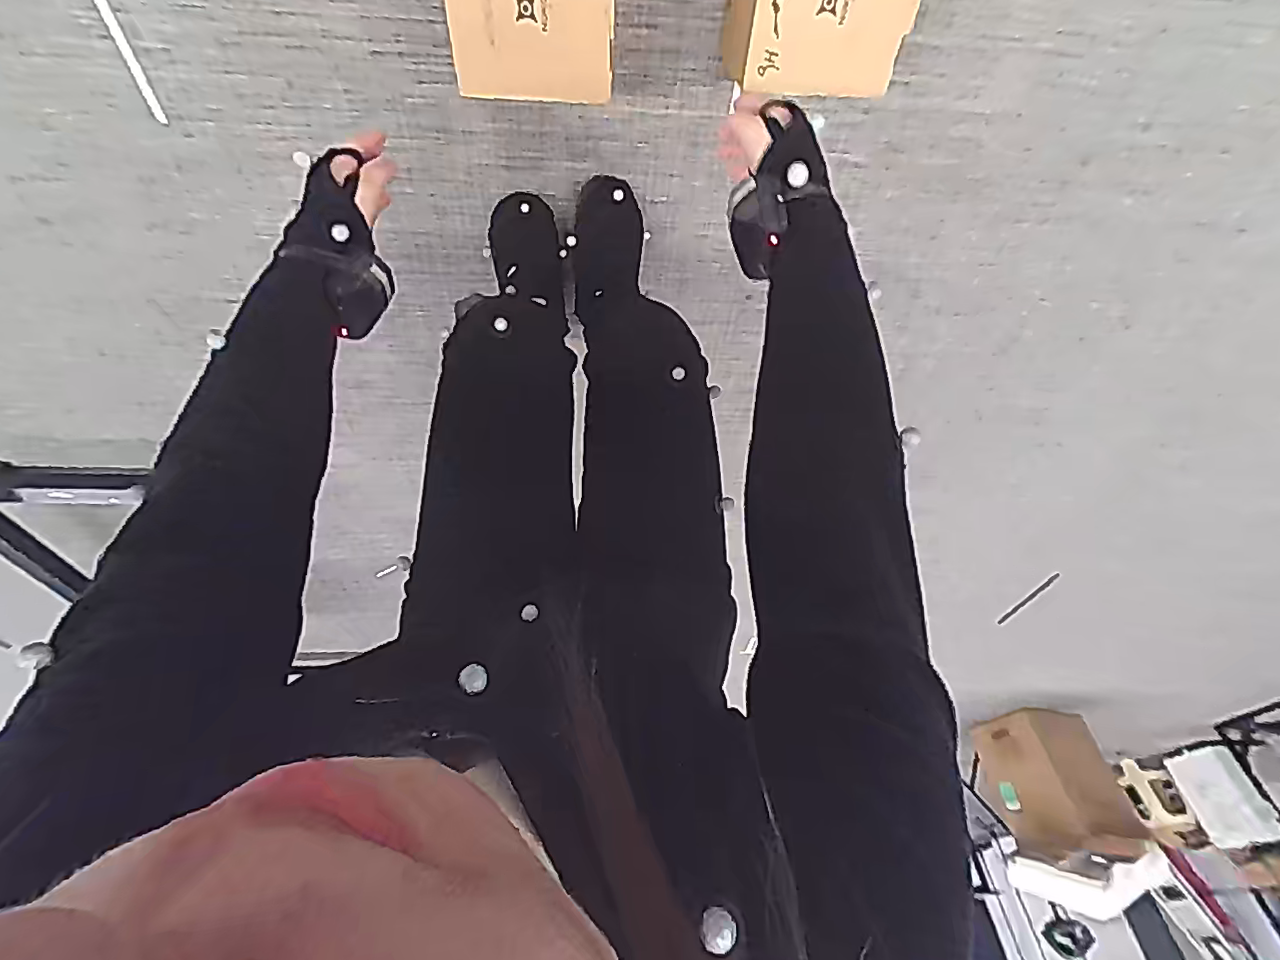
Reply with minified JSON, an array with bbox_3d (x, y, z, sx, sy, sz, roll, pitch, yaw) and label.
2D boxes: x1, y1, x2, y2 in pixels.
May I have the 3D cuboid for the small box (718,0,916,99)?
[{"bbox_3d":[0.199,-0.560,0.616,0.179,0.176,0.168,-1,139,-5],"label":"small box"}]

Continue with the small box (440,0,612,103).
[{"bbox_3d":[-0.121,-0.547,0.603,0.179,0.176,0.168,0,139,-5],"label":"small box"}]
